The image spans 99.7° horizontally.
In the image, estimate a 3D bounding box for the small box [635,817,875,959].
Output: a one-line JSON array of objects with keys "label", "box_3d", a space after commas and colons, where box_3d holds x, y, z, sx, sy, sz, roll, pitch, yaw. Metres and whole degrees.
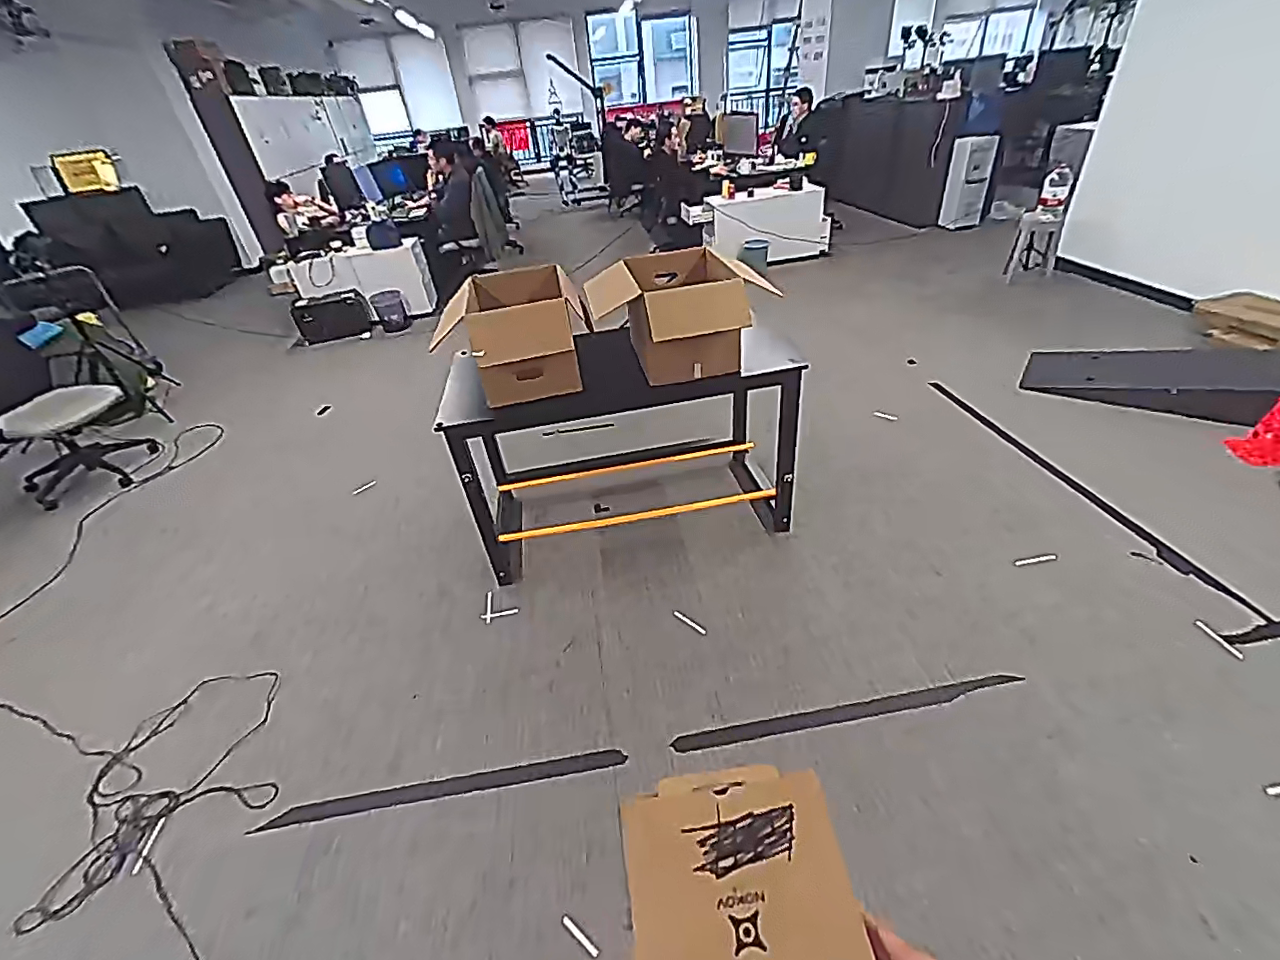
[{"label": "small box", "box_3d": [0.090, 0.401, 0.436, 0.168, 0.176, 0.179, -8, 47, -1]}]
